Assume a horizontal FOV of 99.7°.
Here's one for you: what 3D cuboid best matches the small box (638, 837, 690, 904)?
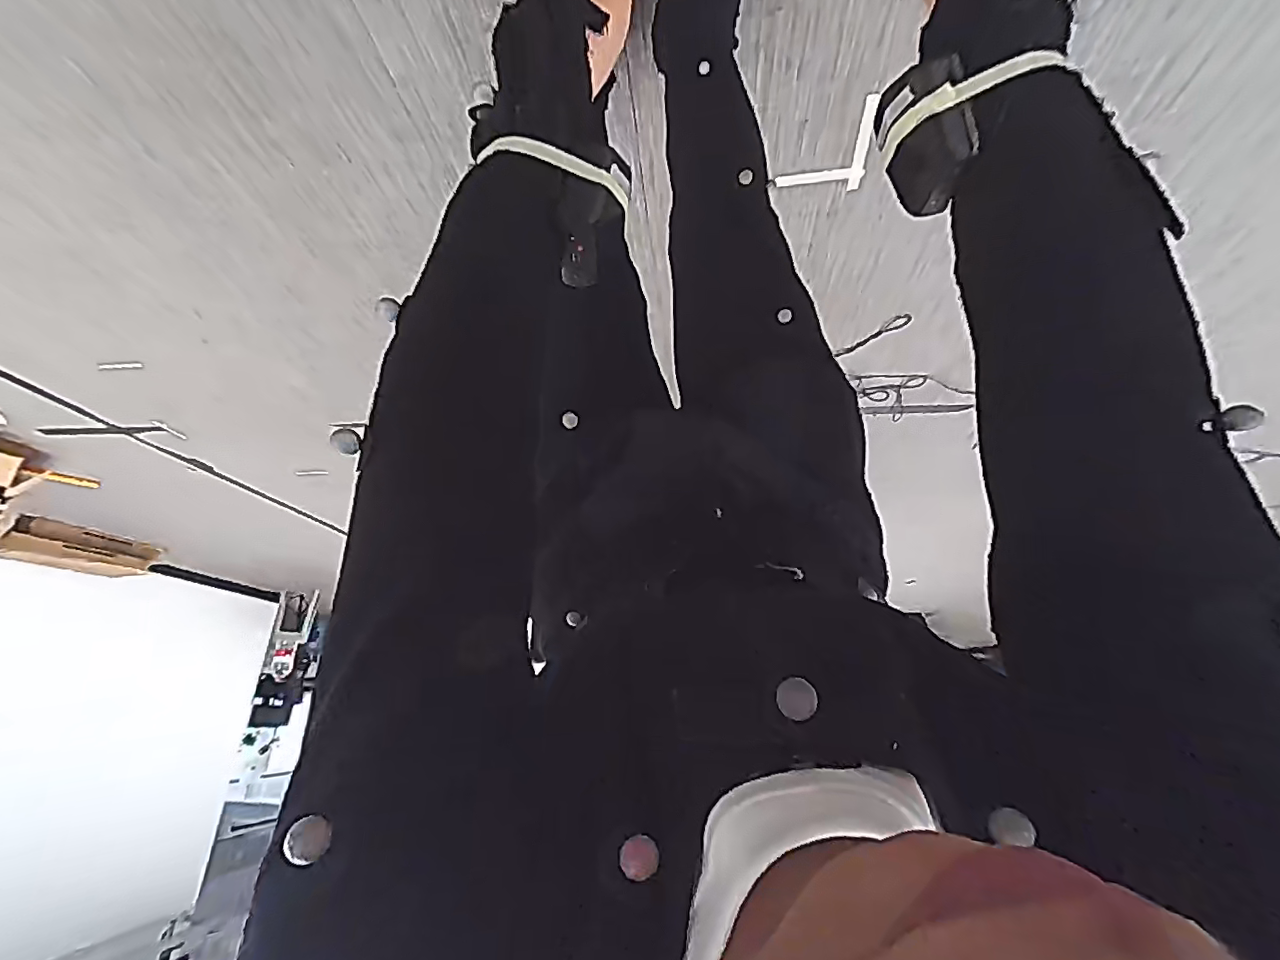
[{"bbox_3d":[0.088,1.416,1.970,0.179,0.176,0.168,-3,156,5],"label":"small box"}]
